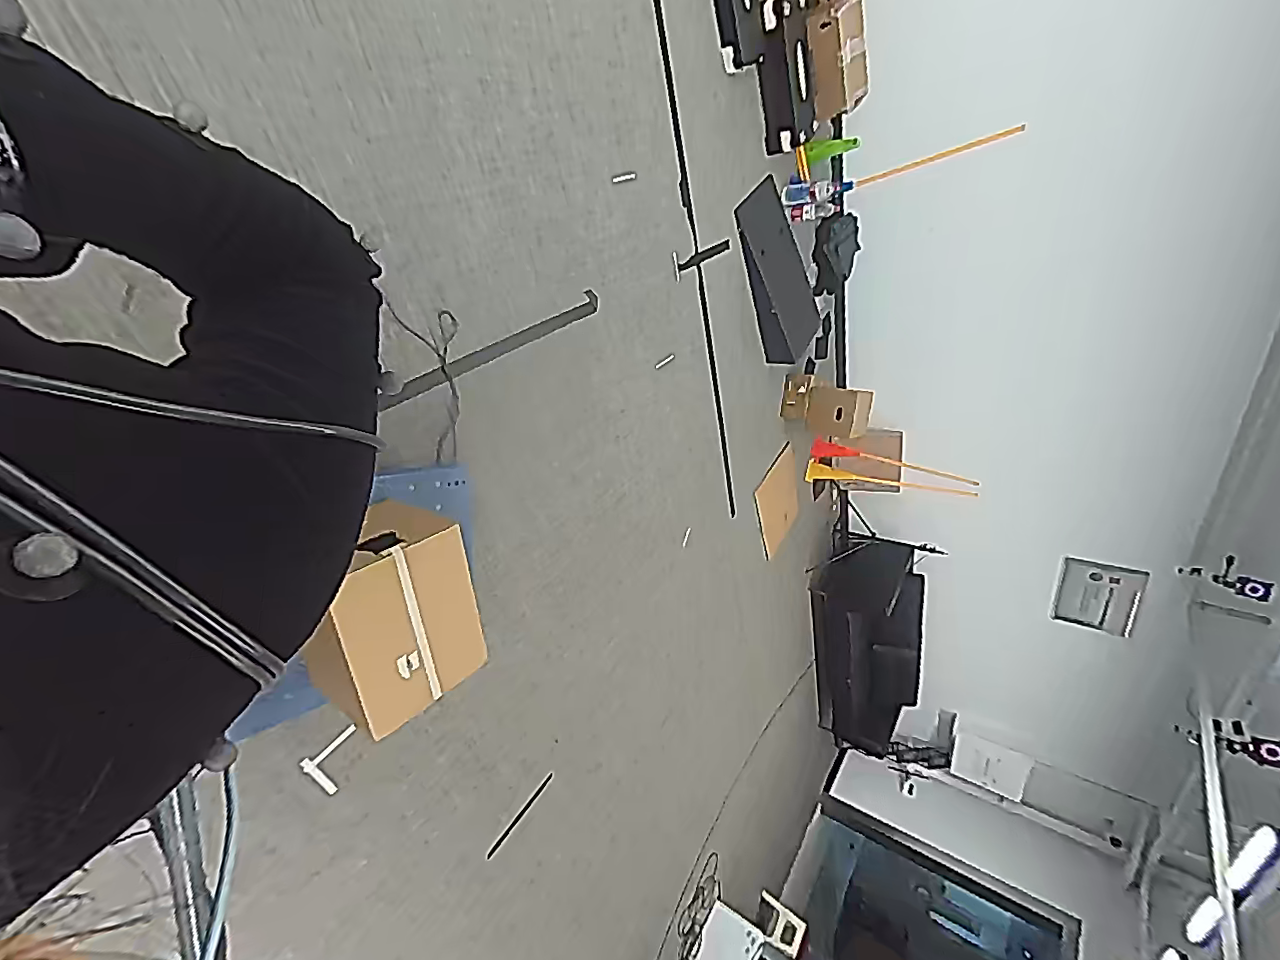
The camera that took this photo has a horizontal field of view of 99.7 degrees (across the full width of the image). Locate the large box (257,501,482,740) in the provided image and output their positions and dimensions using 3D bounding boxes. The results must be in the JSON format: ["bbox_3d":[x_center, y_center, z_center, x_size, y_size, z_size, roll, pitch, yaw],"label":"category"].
[{"bbox_3d":[-0.630,0.309,1.294,0.320,0.320,0.408,-28,122,-46],"label":"large box"}]
